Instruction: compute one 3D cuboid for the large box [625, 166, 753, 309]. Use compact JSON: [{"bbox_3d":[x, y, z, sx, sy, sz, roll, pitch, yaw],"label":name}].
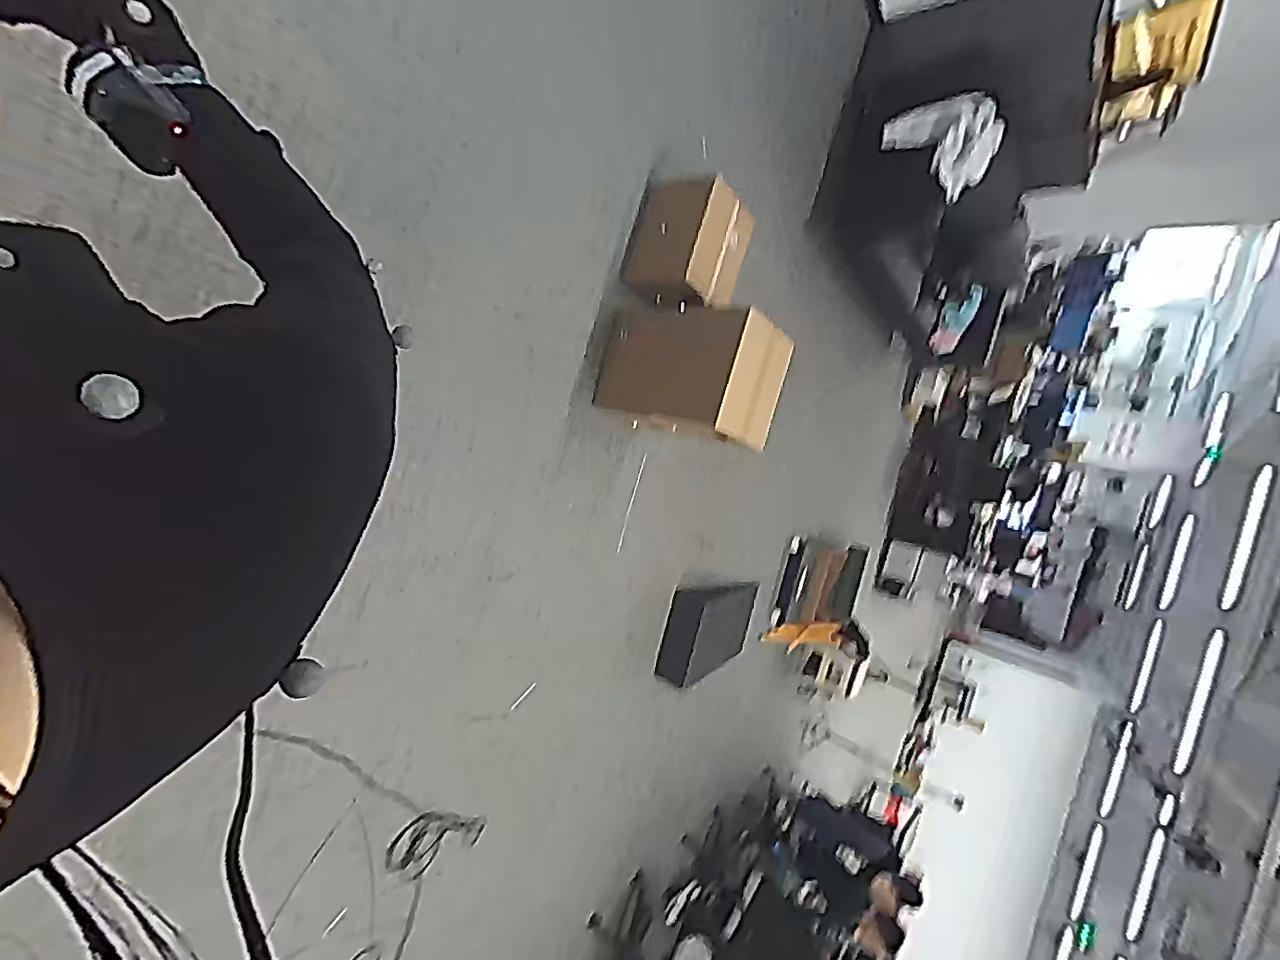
[{"bbox_3d":[0.189,-0.919,2.107,0.320,0.320,0.408,19,88,-52],"label":"large box"}]
